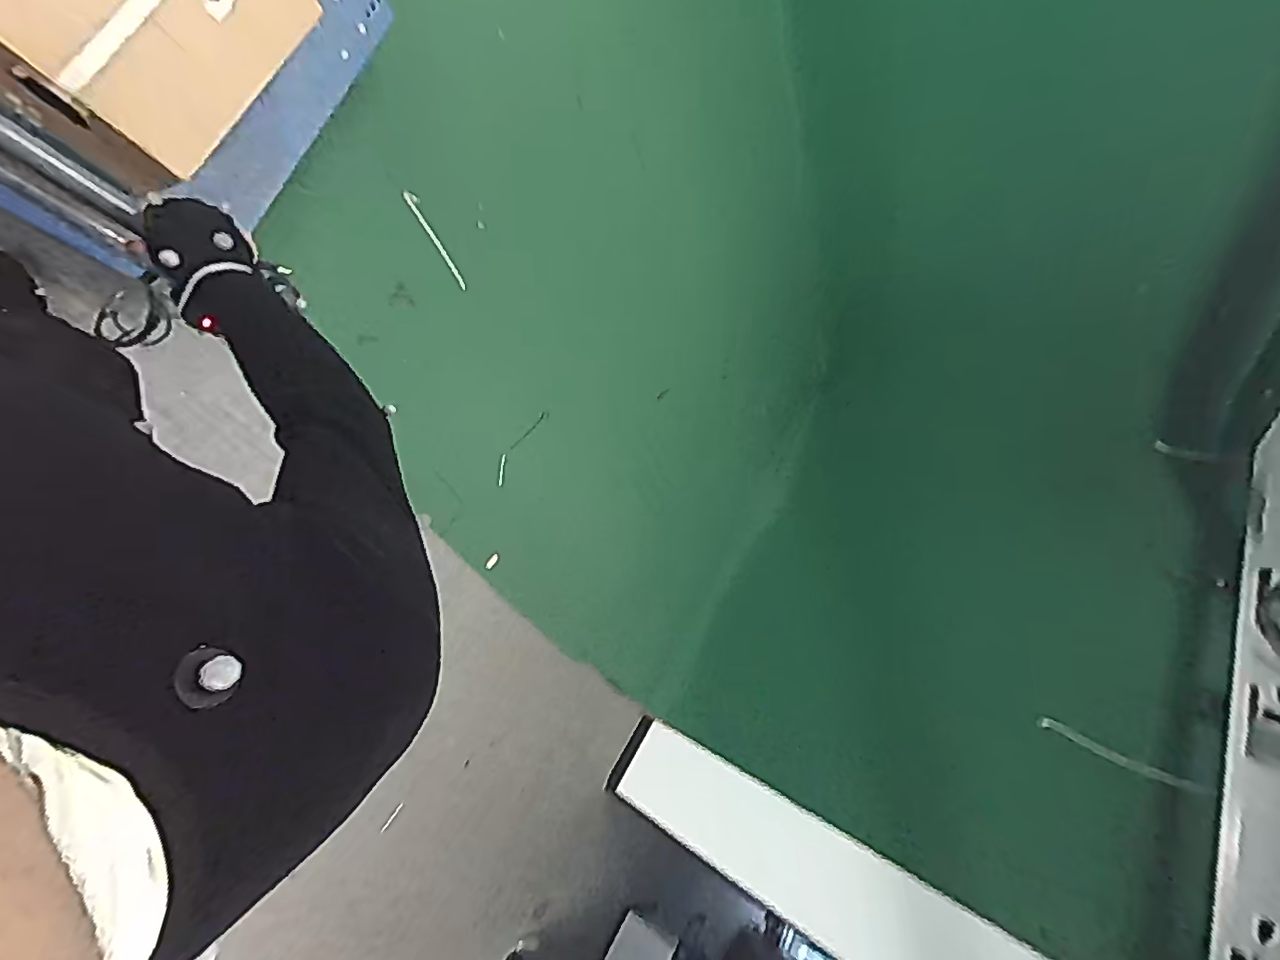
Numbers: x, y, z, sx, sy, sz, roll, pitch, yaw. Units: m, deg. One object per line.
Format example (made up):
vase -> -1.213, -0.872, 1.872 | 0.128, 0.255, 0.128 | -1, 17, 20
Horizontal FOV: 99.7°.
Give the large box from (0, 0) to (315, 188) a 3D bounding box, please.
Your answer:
large box -> -0.828, -0.754, 0.863 | 0.320, 0.320, 0.408 | 43, 69, -52
